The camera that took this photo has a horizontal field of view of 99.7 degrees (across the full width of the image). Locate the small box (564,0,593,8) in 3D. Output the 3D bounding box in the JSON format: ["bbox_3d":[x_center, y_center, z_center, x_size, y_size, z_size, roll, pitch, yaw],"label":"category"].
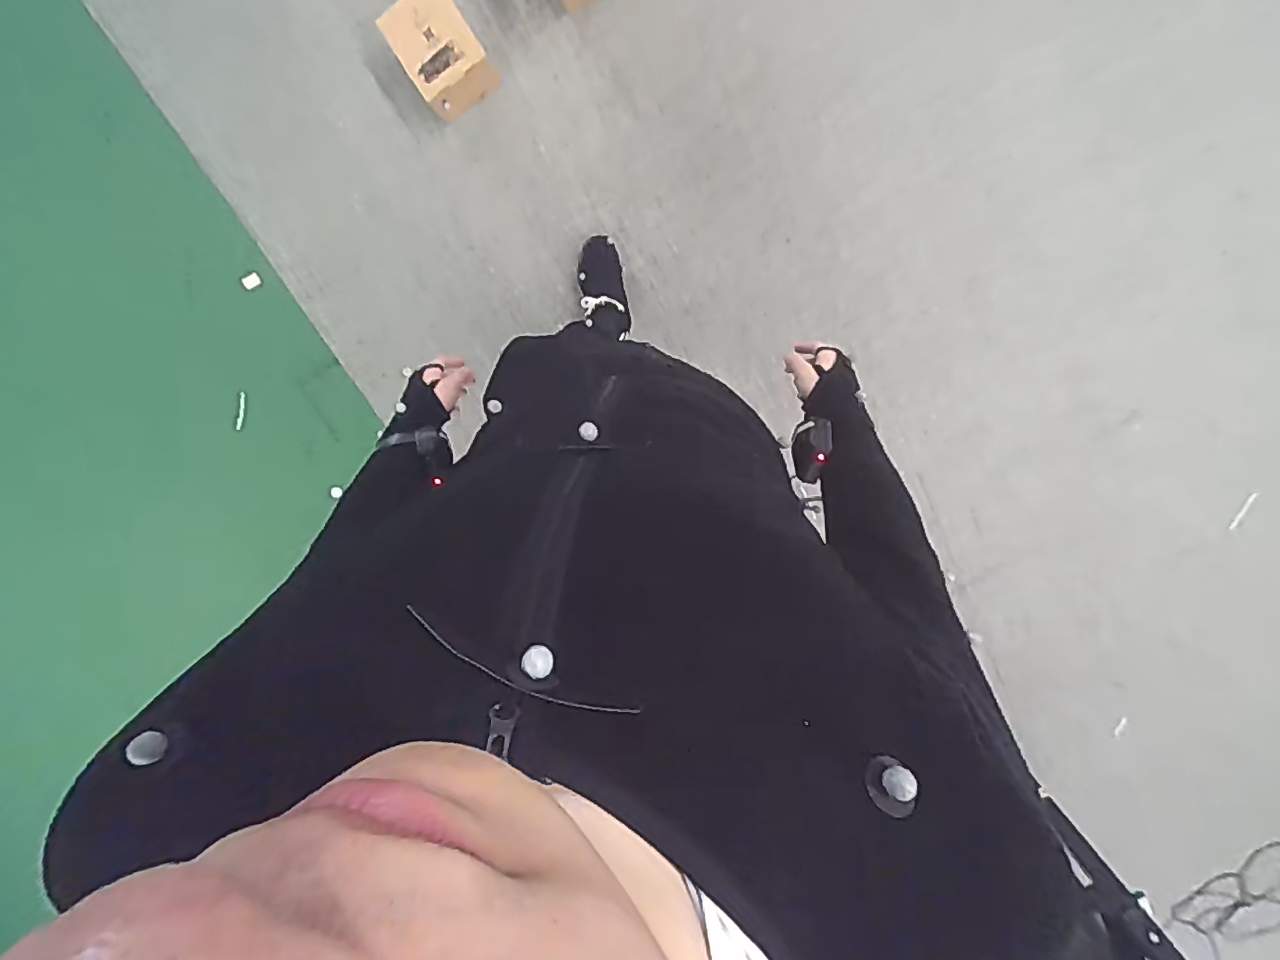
[{"bbox_3d":[-0.119,-1.167,1.160,0.168,0.176,0.179,-21,110,6],"label":"small box"}]
